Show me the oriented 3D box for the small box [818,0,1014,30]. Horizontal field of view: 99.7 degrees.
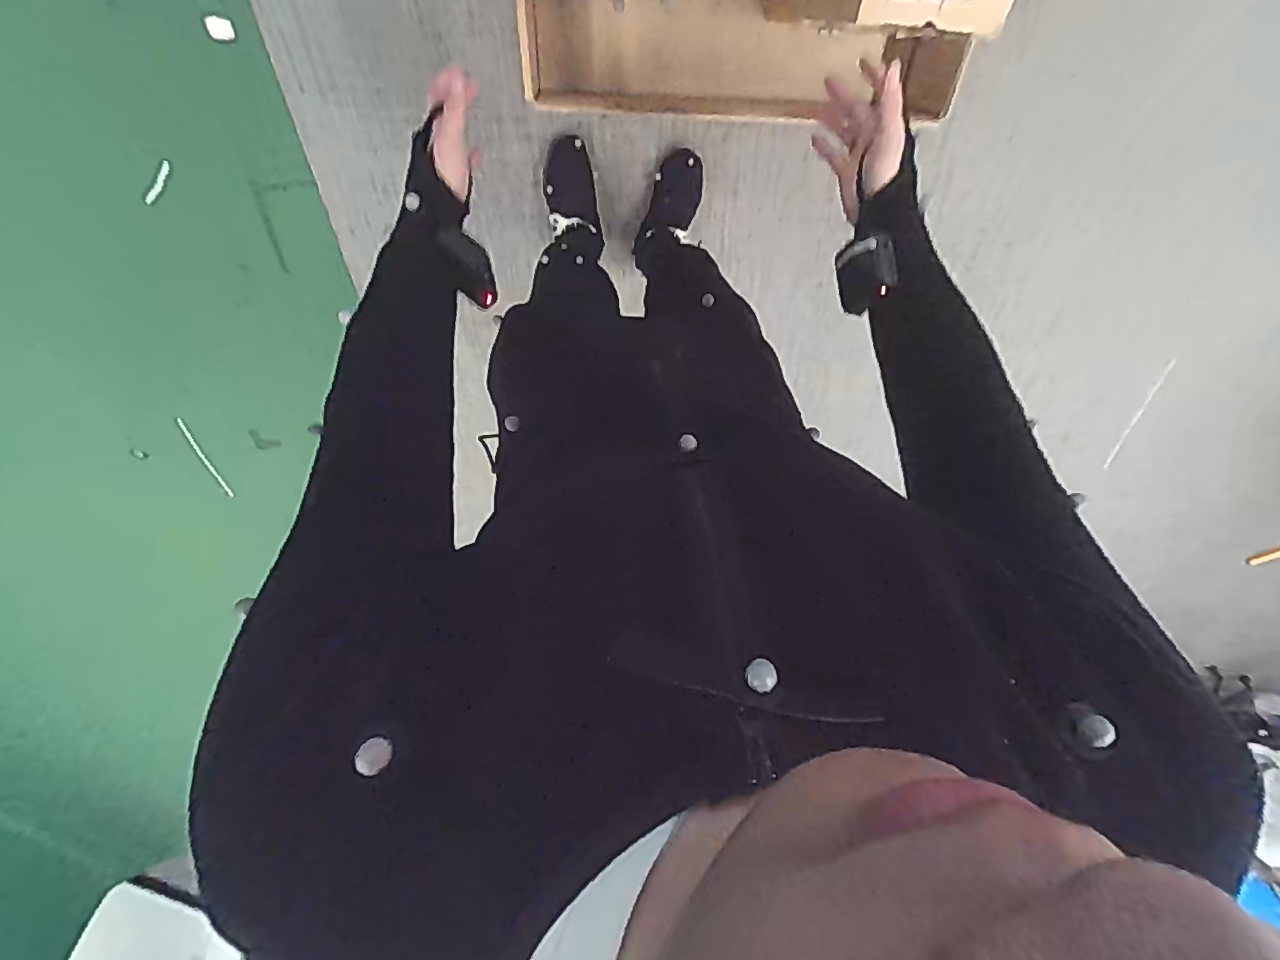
[{"bbox_3d":[0.300,-0.592,0.564,0.168,0.176,0.179,0,130,-7],"label":"small box"}]
